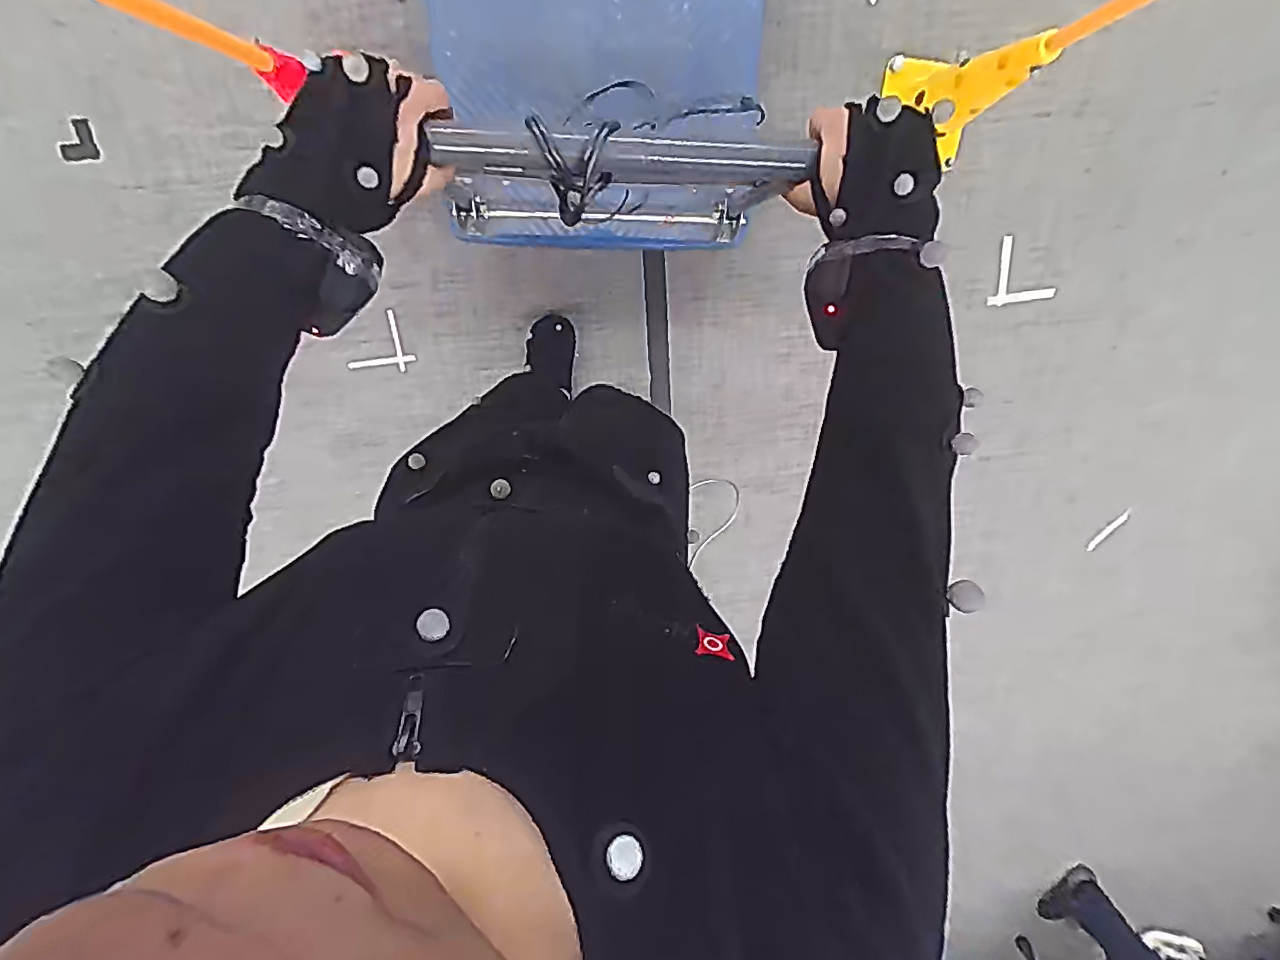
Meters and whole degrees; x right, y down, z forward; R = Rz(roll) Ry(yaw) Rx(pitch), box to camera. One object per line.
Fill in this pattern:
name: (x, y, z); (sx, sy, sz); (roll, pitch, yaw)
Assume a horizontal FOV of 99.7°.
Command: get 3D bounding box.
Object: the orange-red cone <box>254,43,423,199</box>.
orange-red cone: (-0.543, -0.648, 0.920); (0.198, 0.360, 0.199); (39, 100, -18)
